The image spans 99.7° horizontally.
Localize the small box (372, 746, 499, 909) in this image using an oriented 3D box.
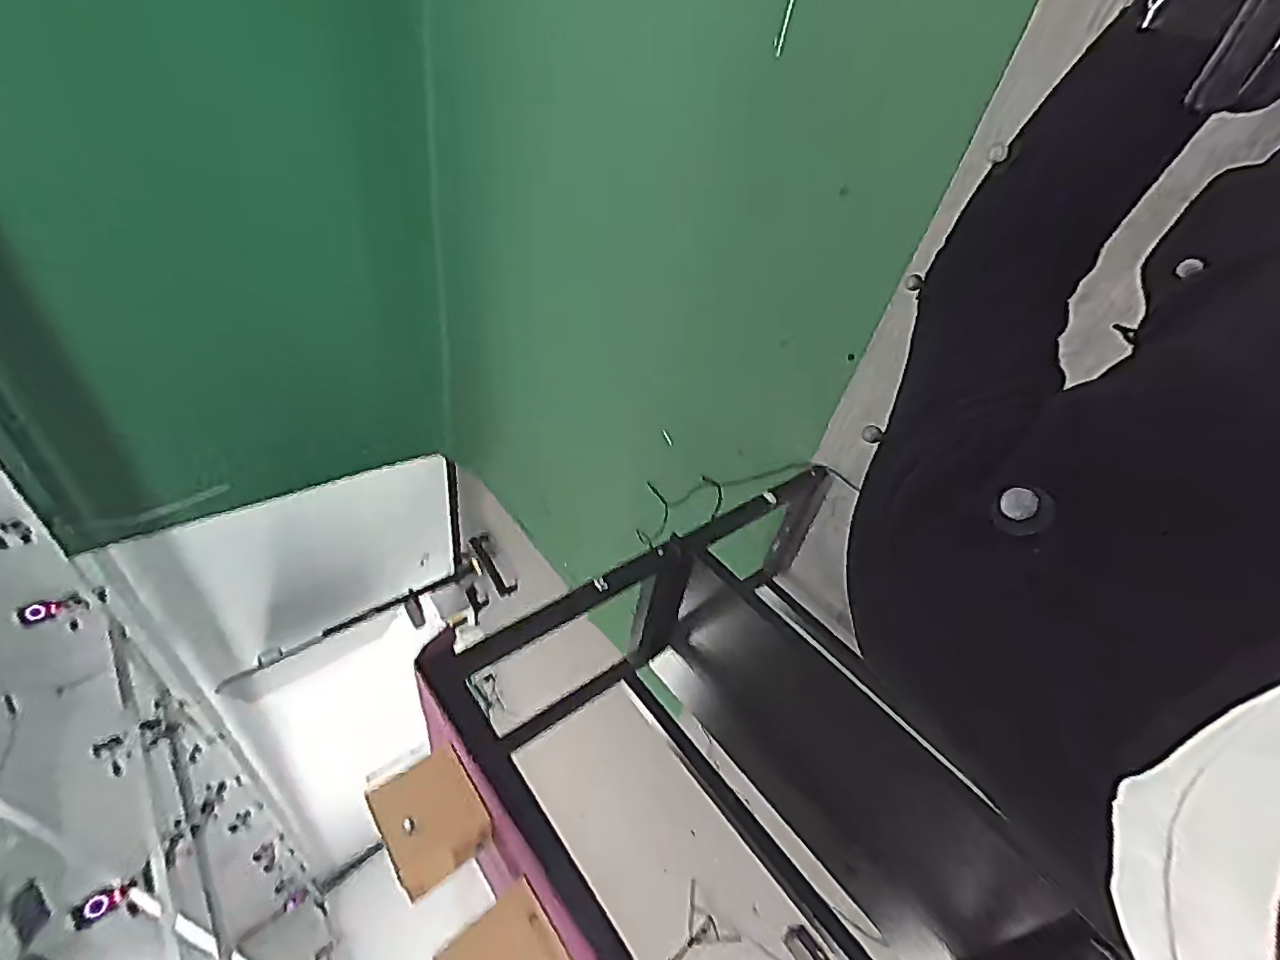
[{"bbox_3d":[-0.383,0.659,1.037,0.179,0.176,0.168,41,138,31],"label":"small box"}]
